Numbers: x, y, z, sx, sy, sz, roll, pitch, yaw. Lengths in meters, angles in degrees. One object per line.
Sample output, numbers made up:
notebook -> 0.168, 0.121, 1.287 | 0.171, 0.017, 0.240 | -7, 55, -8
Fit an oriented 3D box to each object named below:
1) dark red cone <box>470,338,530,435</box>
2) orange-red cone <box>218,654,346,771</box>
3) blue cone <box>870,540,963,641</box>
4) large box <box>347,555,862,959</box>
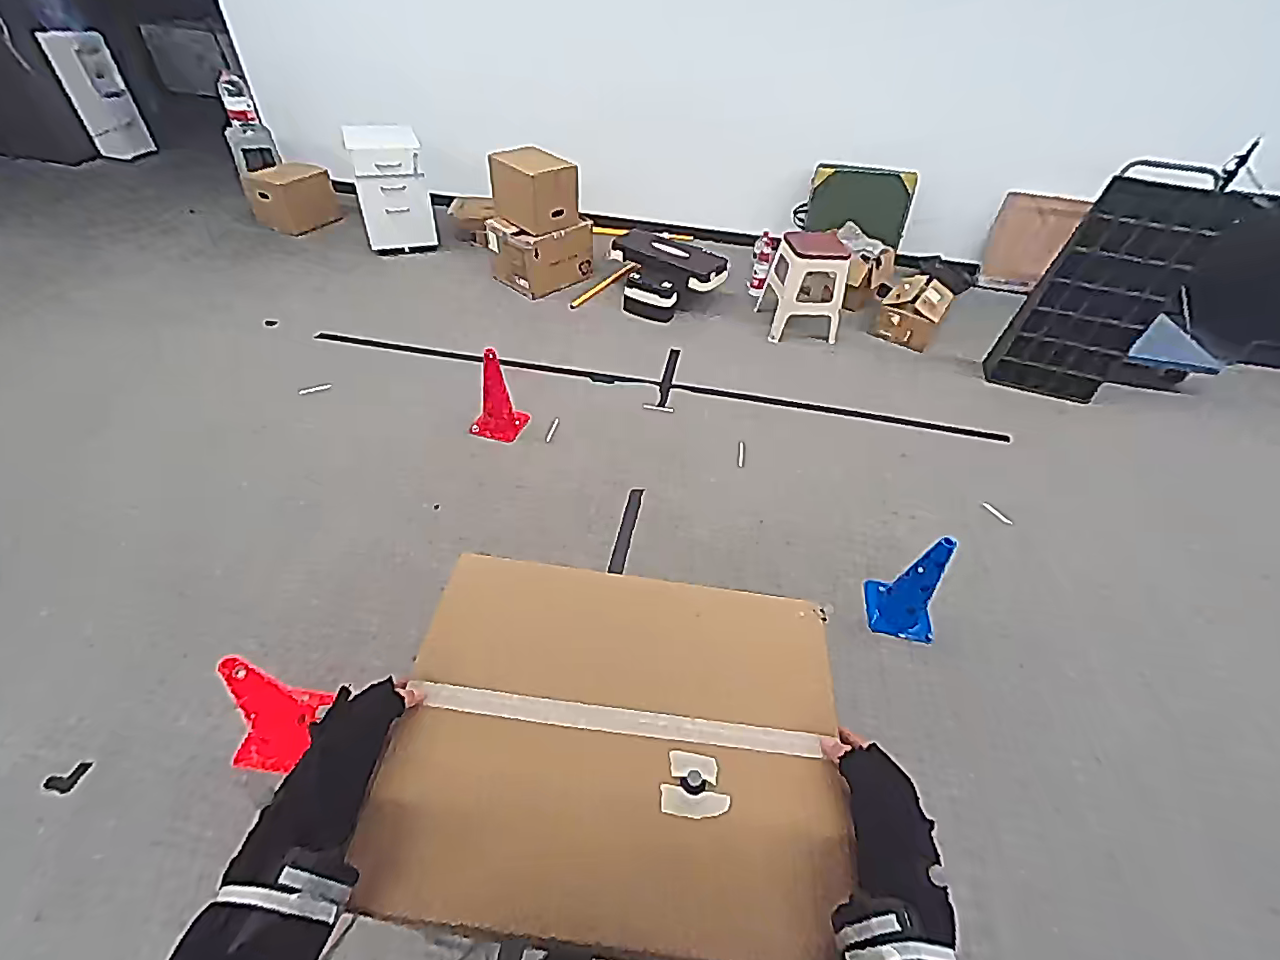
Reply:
dark red cone -> -0.569, -0.381, 2.156 | 0.201, 0.394, 0.202 | 15, 45, 8
orange-red cone -> -0.871, 0.505, 1.254 | 0.198, 0.360, 0.199 | 8, 46, 3
blue cone -> 0.863, 0.312, 1.649 | 0.192, 0.380, 0.193 | 13, 45, 6
large box -> -0.028, 0.320, 0.616 | 0.408, 0.320, 0.320 | 8, 47, 0
